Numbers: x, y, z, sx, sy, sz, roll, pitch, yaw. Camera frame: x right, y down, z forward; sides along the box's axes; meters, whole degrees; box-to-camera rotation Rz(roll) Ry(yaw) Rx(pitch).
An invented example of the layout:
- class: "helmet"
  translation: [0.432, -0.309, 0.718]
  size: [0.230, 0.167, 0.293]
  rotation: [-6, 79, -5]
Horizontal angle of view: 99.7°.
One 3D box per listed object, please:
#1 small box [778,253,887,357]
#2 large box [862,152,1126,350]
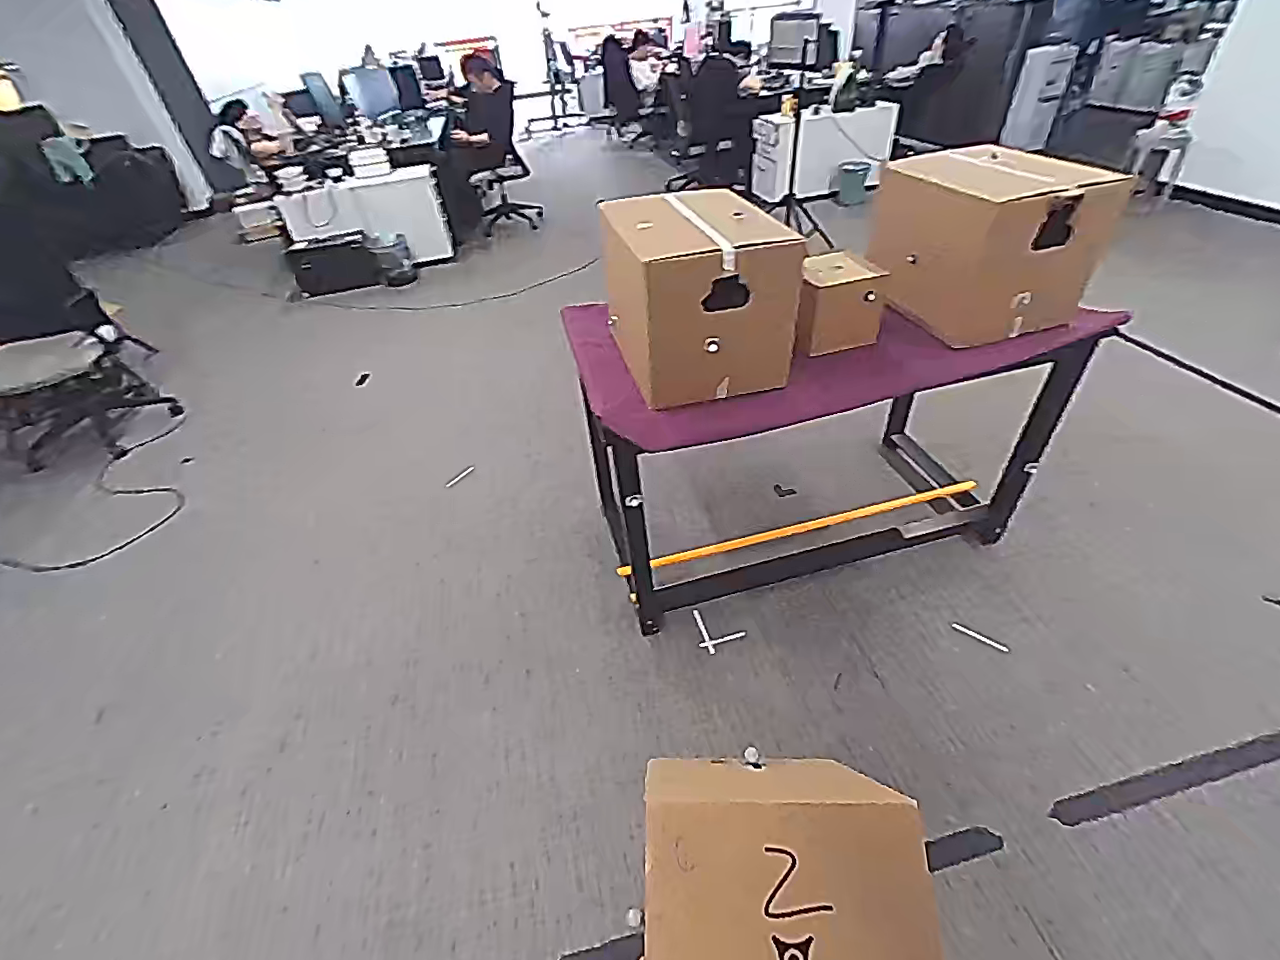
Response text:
- class: "small box"
  translation: [0.443, -0.412, 1.275]
  size: [0.179, 0.176, 0.168]
  rotation: [-14, 41, -8]
- class: "large box"
  translation: [0.785, -0.557, 1.290]
  size: [0.320, 0.320, 0.408]
  rotation: [-13, 40, -8]
